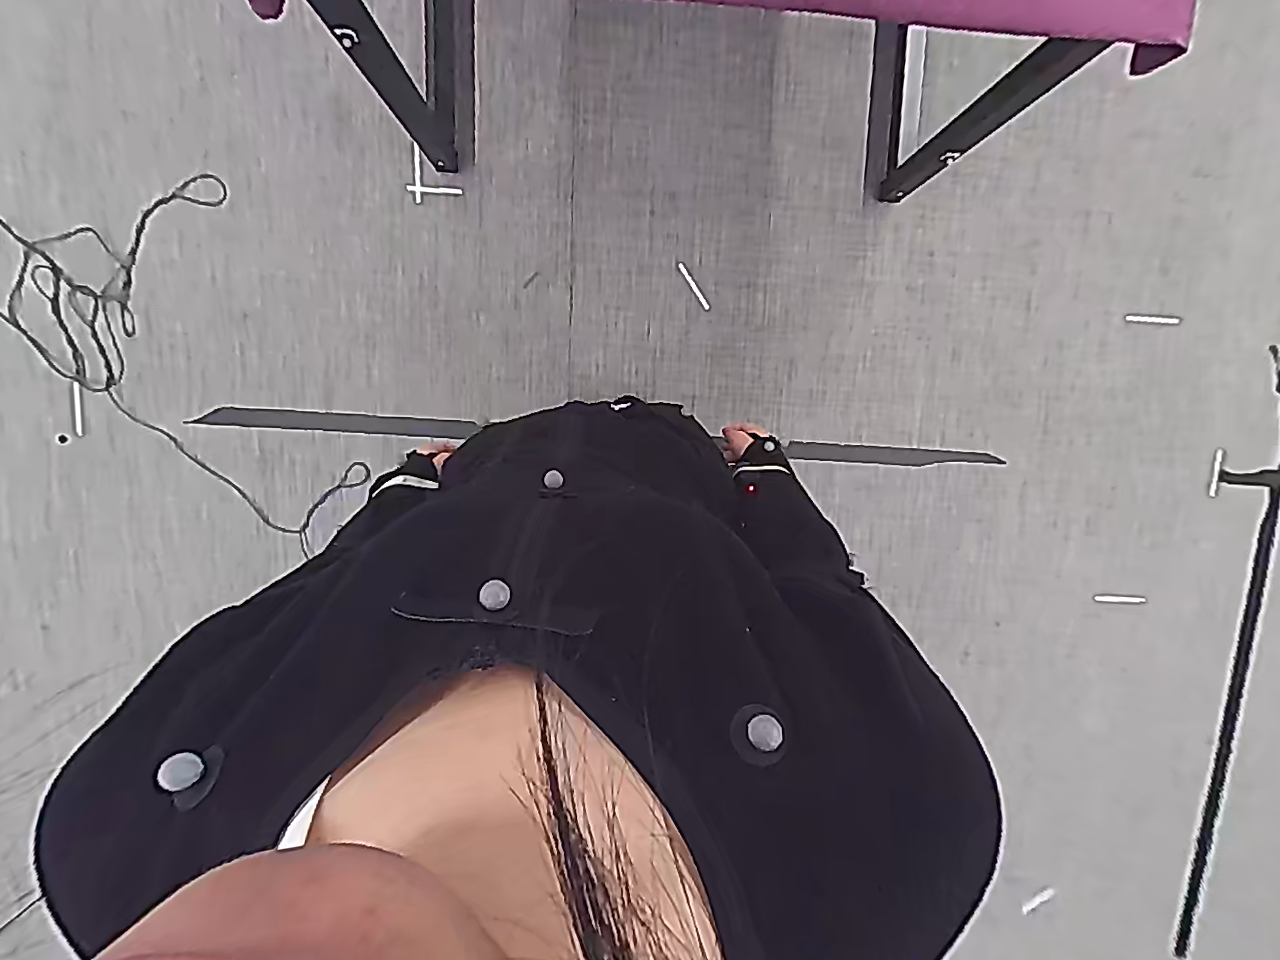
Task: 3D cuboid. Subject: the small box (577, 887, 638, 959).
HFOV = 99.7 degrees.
[{"bbox_3d":[-0.098,1.339,1.583,0.168,0.176,0.179,5,98,-2],"label":"small box"}]
